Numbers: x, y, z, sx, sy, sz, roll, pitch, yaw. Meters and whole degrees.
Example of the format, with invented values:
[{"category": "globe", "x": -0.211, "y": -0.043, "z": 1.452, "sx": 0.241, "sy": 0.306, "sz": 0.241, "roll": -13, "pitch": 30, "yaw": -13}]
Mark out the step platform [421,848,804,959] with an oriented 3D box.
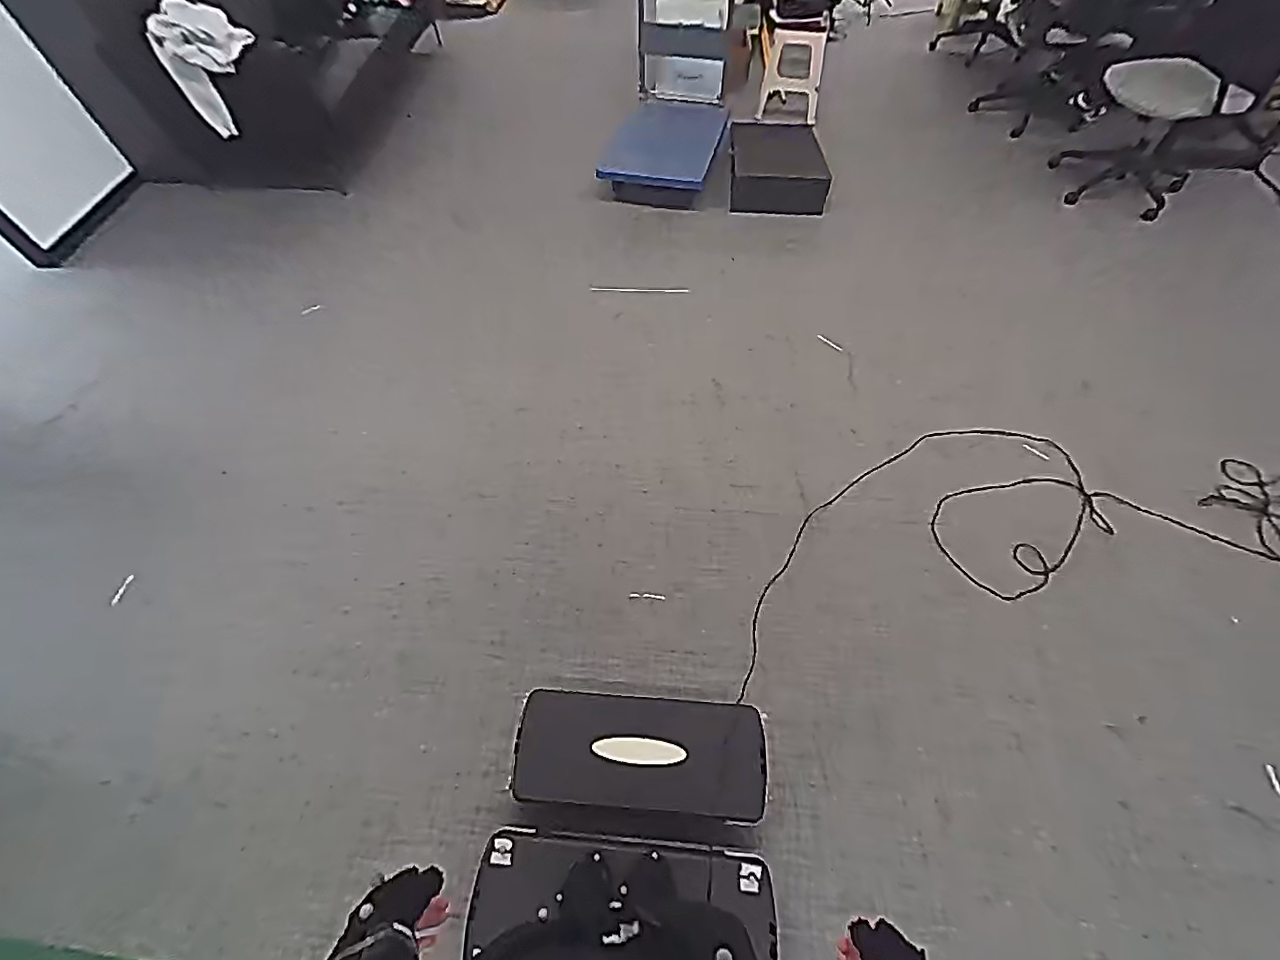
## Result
[{"category": "step platform", "x": -0.050, "y": 0.904, "z": 1.031, "sx": 0.684, "sy": 0.204, "sz": 0.286, "roll": 4, "pitch": 56, "yaw": 3}]
